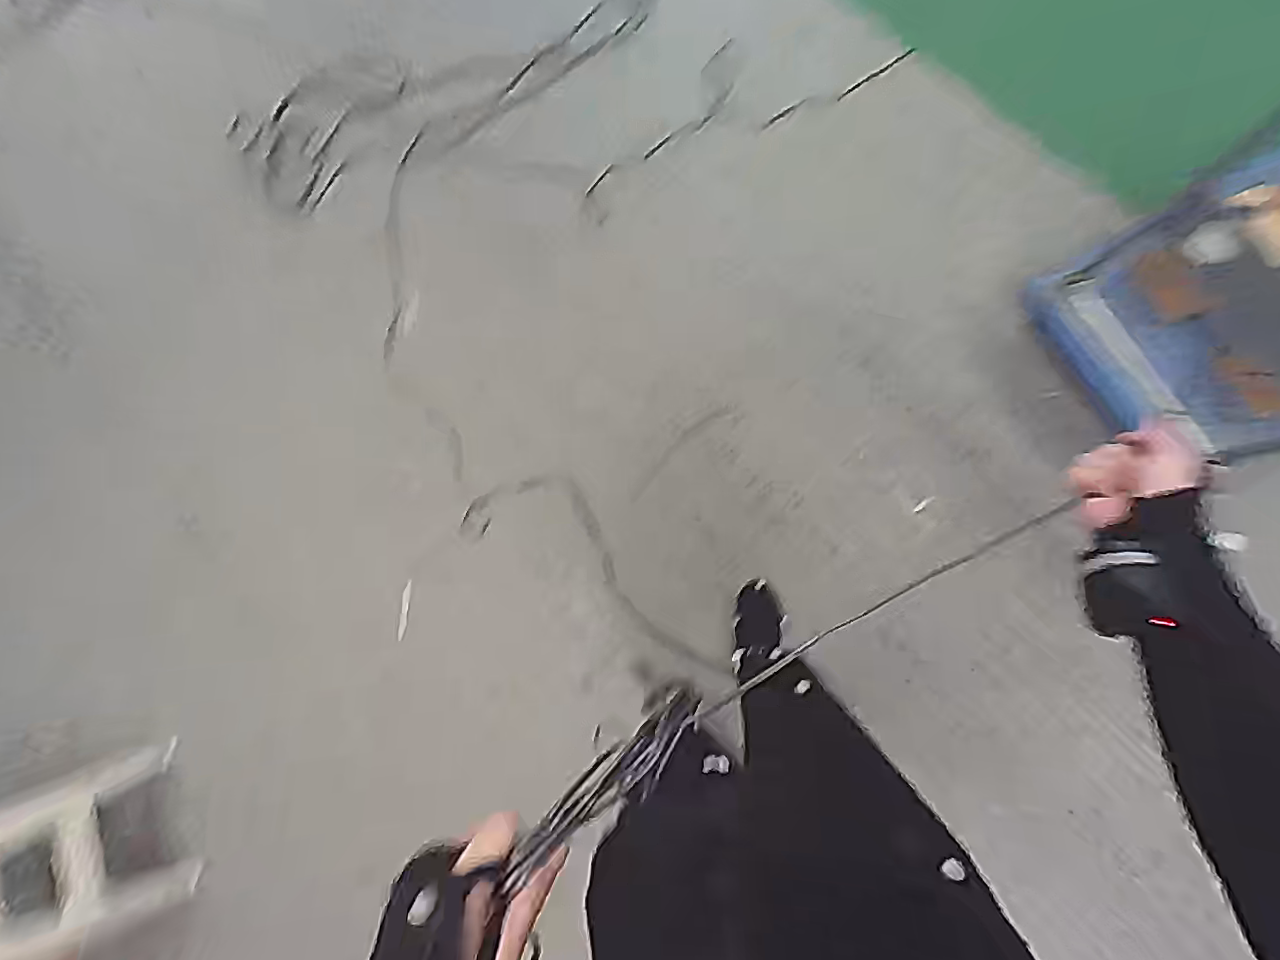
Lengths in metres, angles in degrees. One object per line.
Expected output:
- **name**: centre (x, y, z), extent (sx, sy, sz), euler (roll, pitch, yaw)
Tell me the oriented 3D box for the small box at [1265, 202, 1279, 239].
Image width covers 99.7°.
- **small box**: centre (1.505, -0.585, 1.138), extent (0.179, 0.176, 0.168), euler (-31, 79, 2)
